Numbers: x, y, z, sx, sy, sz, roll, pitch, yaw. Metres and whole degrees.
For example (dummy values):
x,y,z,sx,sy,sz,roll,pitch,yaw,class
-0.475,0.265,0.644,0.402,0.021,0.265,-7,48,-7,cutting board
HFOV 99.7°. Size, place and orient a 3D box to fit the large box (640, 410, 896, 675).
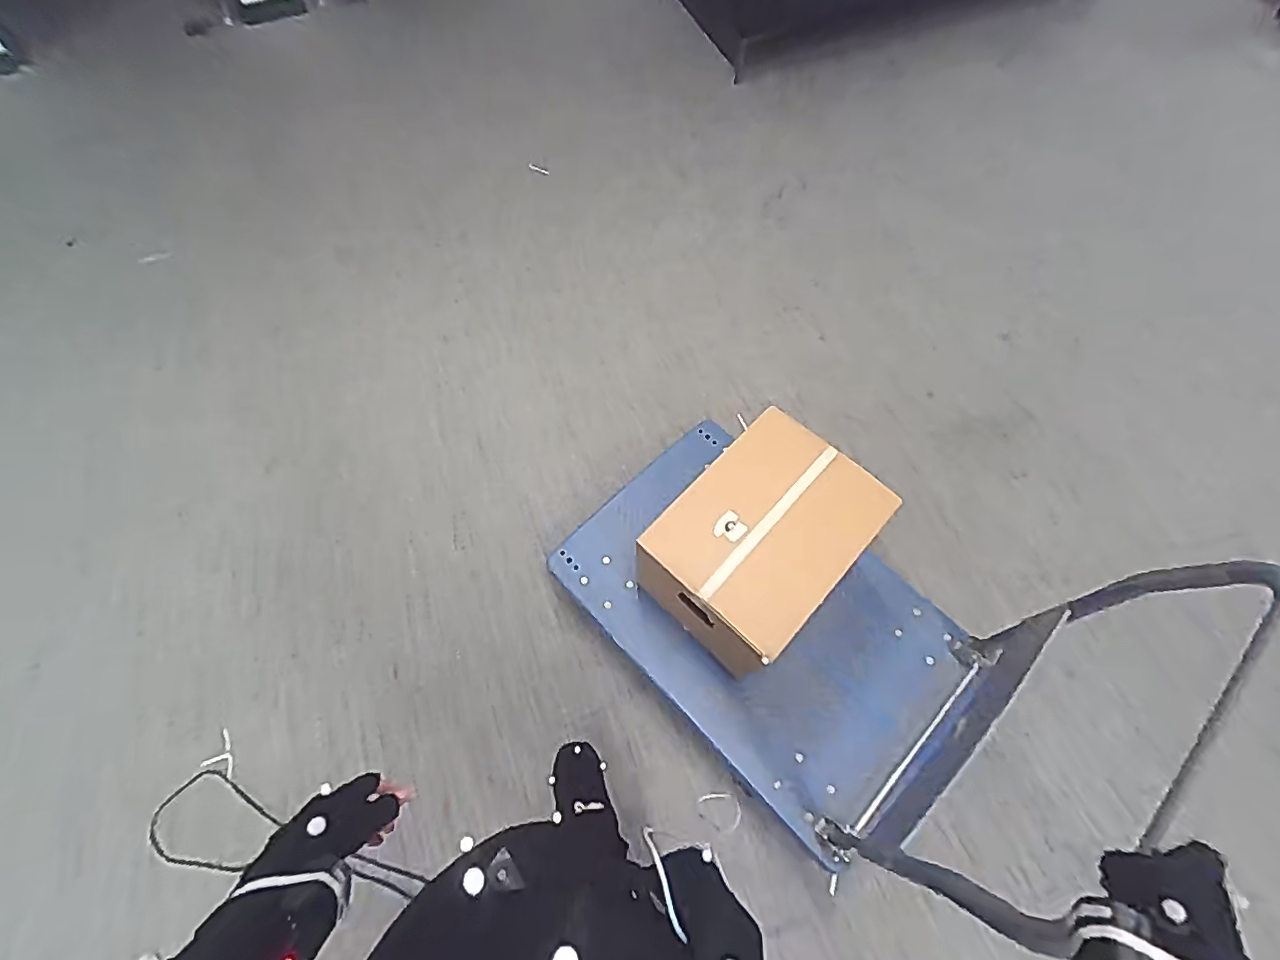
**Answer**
x,y,z,sx,sy,sz,roll,pitch,yaw,class
0.242,0.140,1.132,0.320,0.320,0.408,40,72,18,large box
